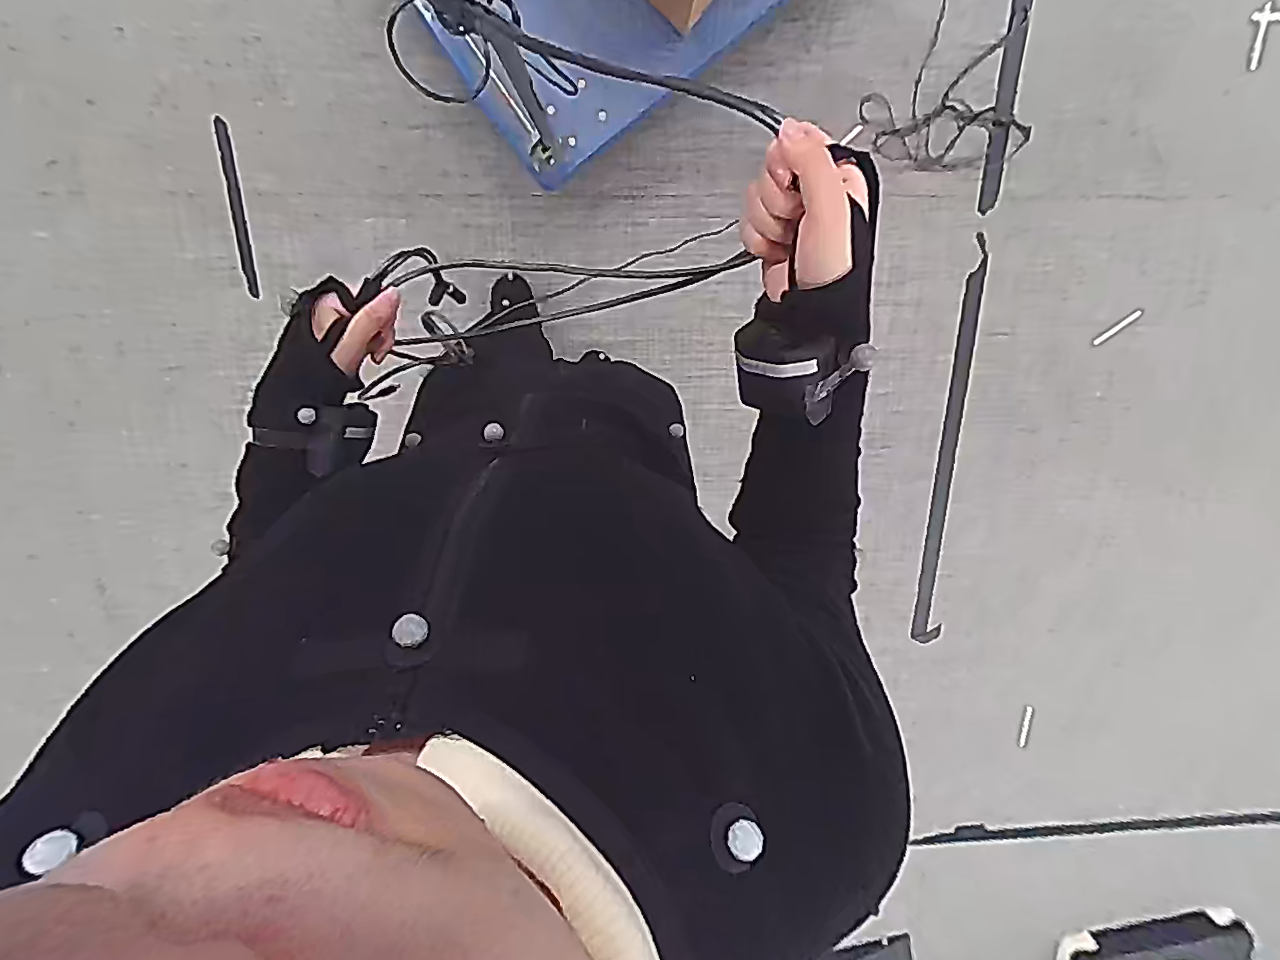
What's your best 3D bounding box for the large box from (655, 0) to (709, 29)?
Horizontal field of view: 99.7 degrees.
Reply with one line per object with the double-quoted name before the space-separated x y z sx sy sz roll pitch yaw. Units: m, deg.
"large box" 0.041 -1.082 0.868 0.408 0.320 0.320 38 102 -13
